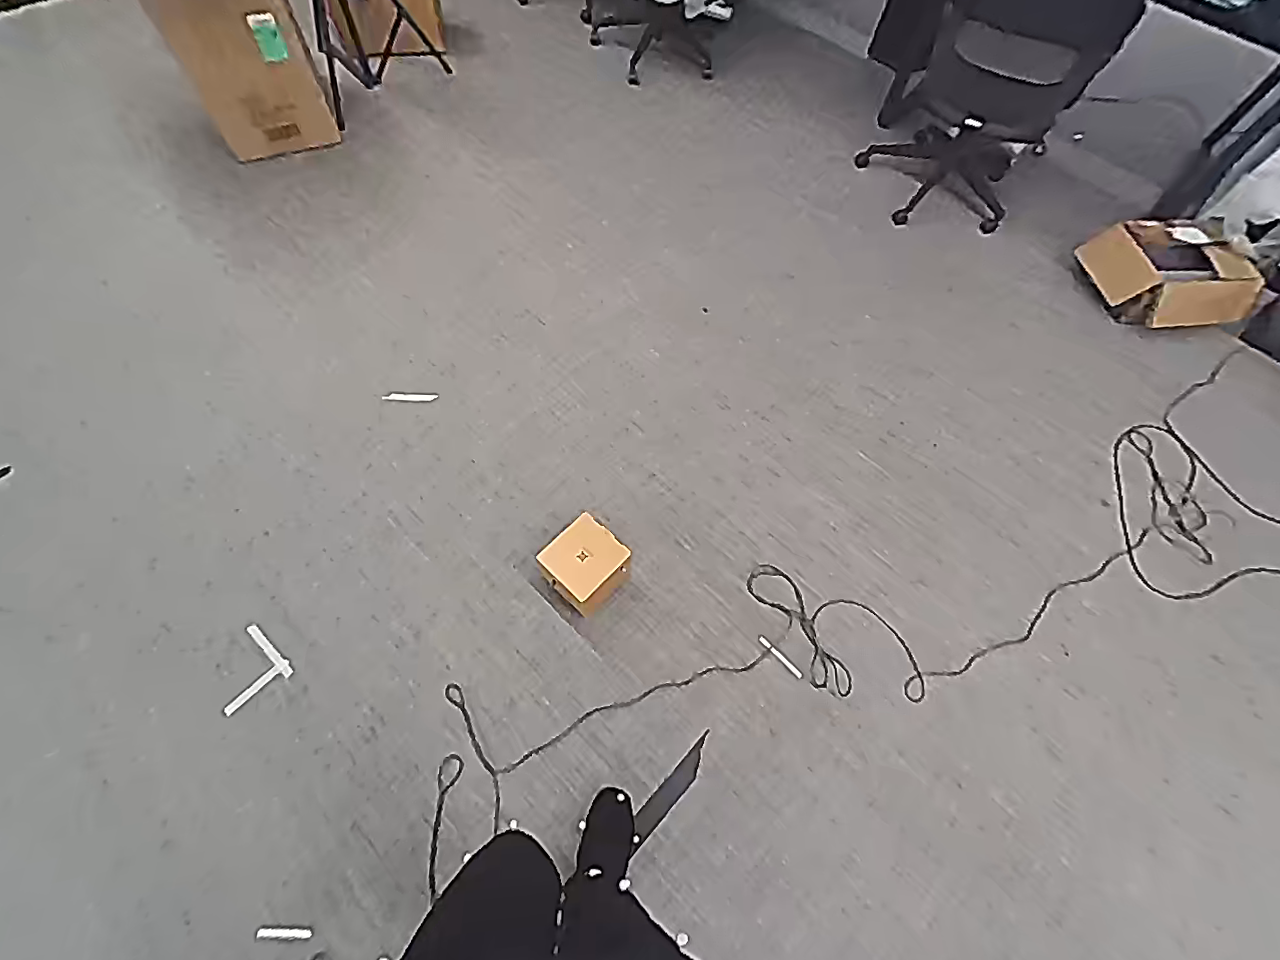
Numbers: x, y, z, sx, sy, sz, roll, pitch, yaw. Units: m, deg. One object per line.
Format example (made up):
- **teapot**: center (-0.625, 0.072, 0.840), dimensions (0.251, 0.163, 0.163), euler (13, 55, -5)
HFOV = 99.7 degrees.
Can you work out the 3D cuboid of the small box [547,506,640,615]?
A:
- **small box**: center (-0.117, 0.197, 1.361), dimensions (0.179, 0.176, 0.168), euler (27, 44, 29)
